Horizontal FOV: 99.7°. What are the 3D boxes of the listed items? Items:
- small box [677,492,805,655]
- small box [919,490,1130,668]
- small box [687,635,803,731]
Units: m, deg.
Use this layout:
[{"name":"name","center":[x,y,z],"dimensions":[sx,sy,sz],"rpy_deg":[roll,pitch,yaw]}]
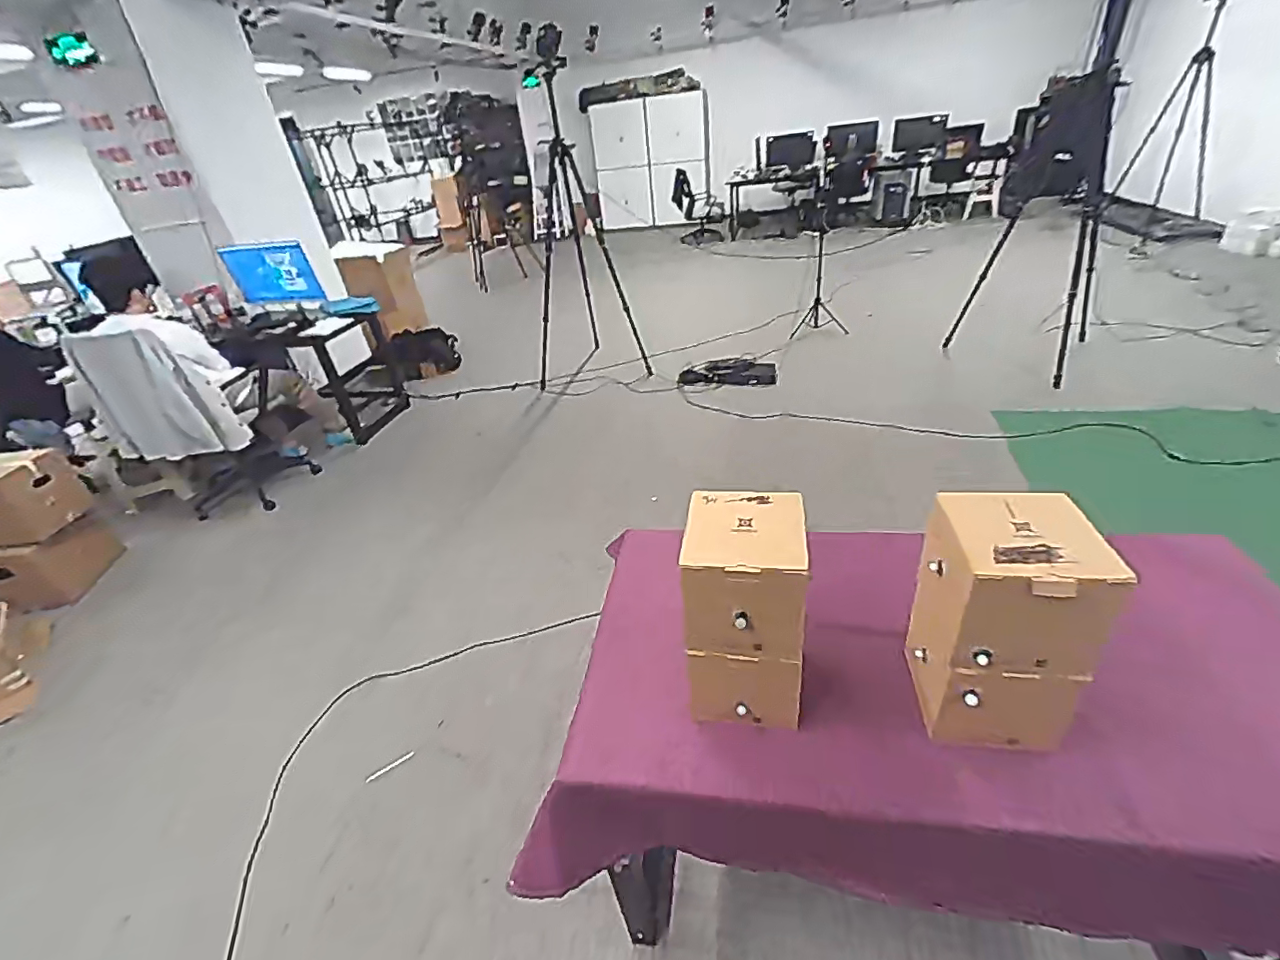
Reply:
[{"name":"small box","center":[0.153,0.135,0.796],"dimensions":[0.168,0.176,0.179],"rpy_deg":[1,34,12]},{"name":"small box","center":[0.493,0.131,0.727],"dimensions":[0.168,0.176,0.179],"rpy_deg":[-1,32,12]},{"name":"small box","center":[0.173,0.275,0.882],"dimensions":[0.168,0.176,0.179],"rpy_deg":[0,33,13]}]
